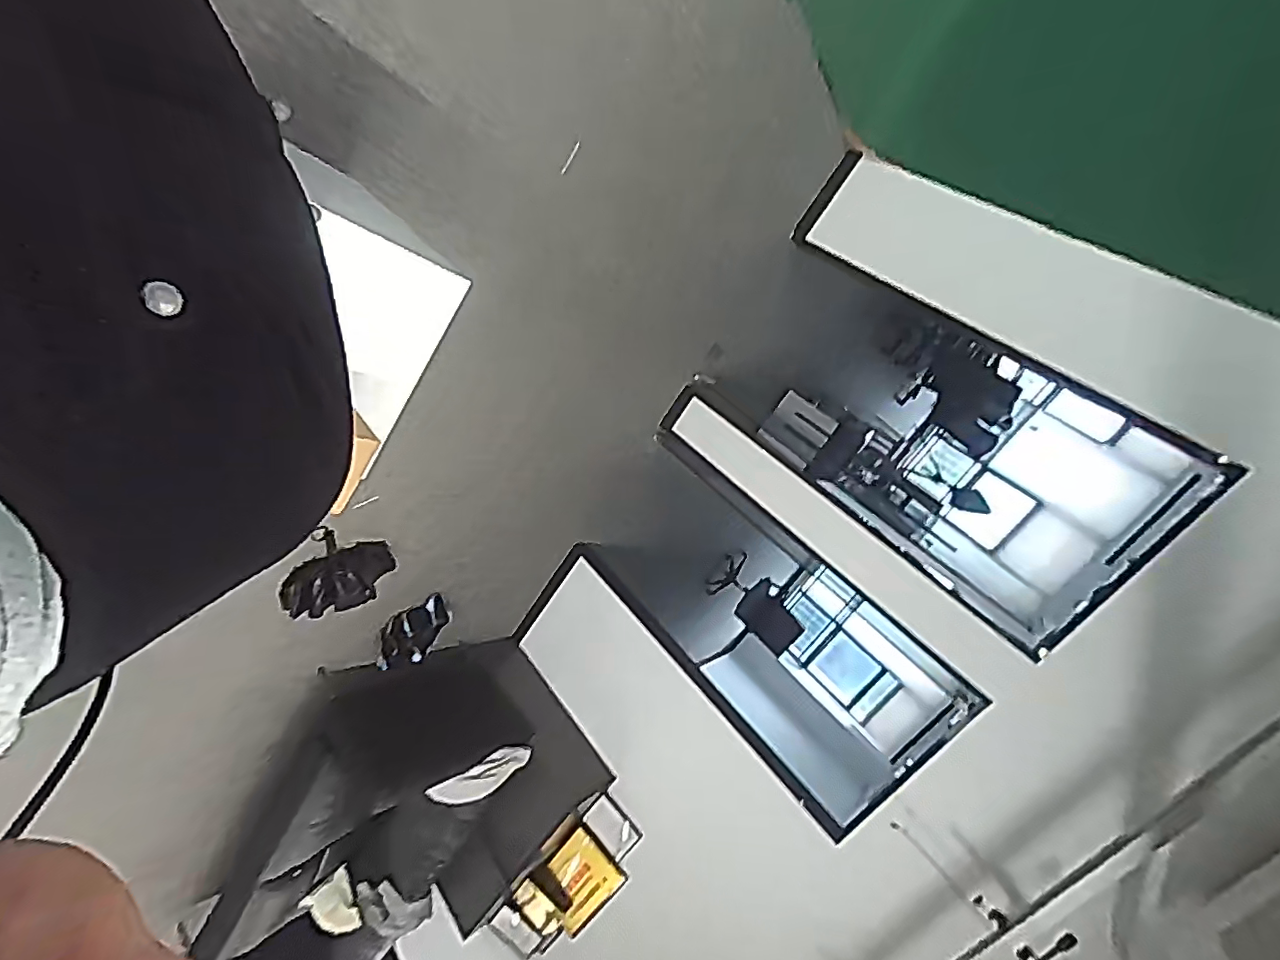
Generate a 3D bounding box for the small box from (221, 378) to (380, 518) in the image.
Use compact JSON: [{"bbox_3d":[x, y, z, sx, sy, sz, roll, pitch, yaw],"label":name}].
[{"bbox_3d":[-0.612,-0.052,0.969,0.179,0.176,0.168,-56,153,14],"label":"small box"}]
